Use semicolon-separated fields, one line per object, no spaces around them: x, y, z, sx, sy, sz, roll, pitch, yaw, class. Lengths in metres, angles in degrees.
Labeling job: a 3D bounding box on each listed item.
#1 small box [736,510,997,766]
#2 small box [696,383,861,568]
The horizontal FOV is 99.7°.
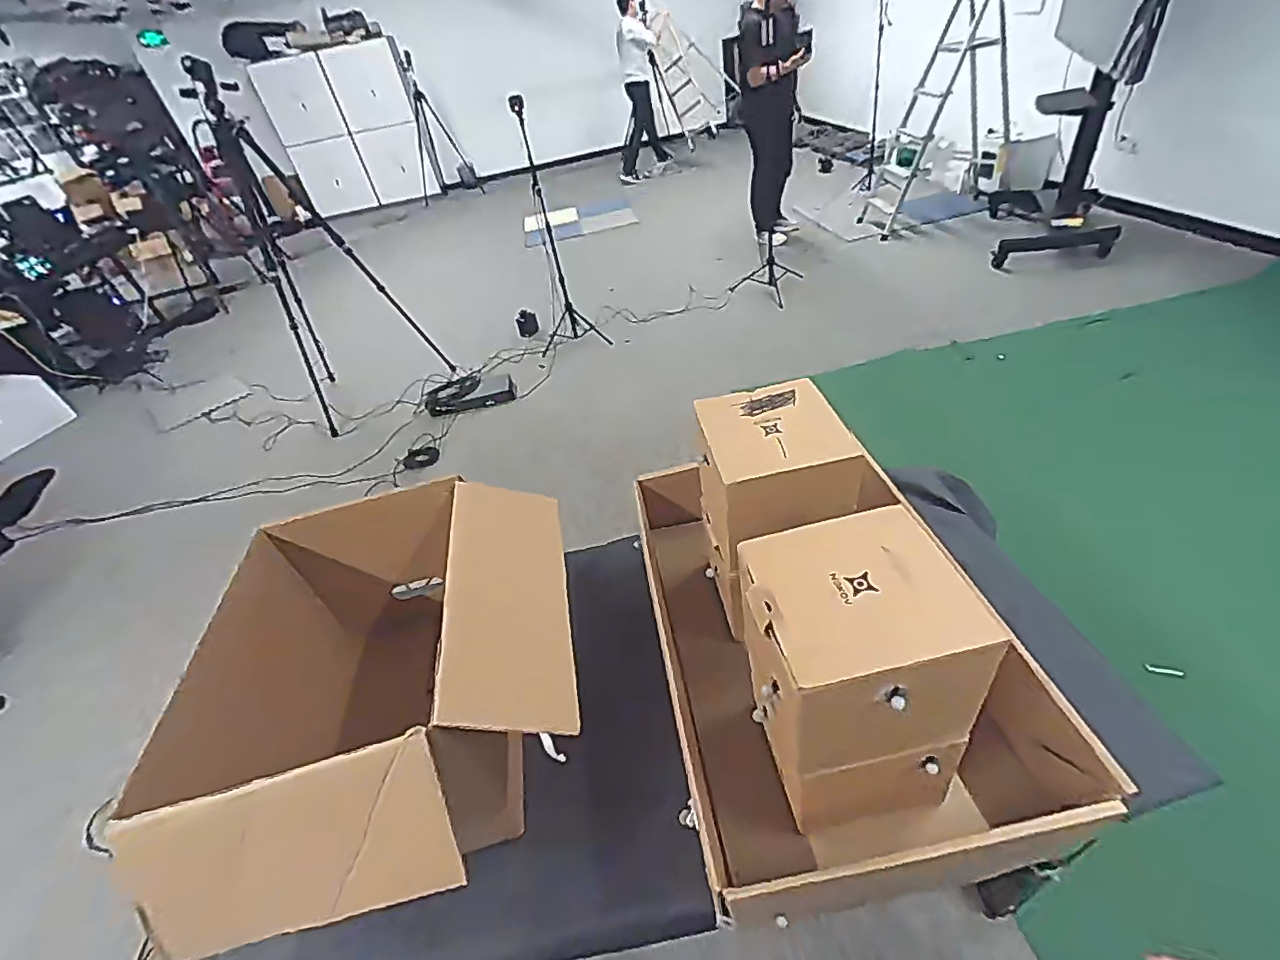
0.207;0.161;0.544;0.179;0.176;0.168;-13;41;-1;small box
0.175;-0.004;0.736;0.168;0.176;0.179;-12;43;0;small box
